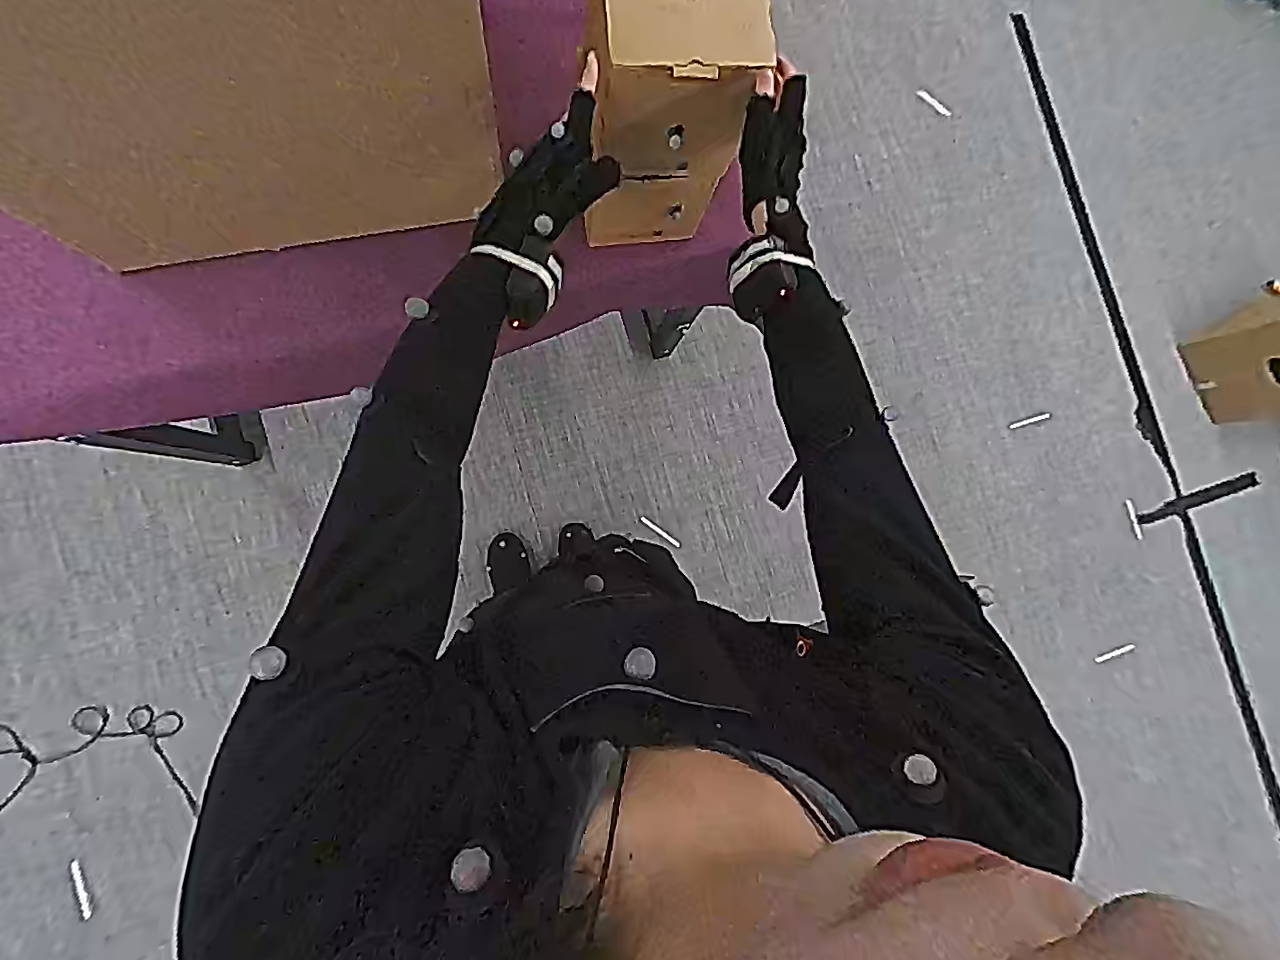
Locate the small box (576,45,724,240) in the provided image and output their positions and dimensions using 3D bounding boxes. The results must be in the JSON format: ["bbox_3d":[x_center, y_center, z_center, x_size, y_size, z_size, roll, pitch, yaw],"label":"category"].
[{"bbox_3d":[0.004,-0.455,0.756,0.168,0.176,0.179,-9,86,-10],"label":"small box"}]
